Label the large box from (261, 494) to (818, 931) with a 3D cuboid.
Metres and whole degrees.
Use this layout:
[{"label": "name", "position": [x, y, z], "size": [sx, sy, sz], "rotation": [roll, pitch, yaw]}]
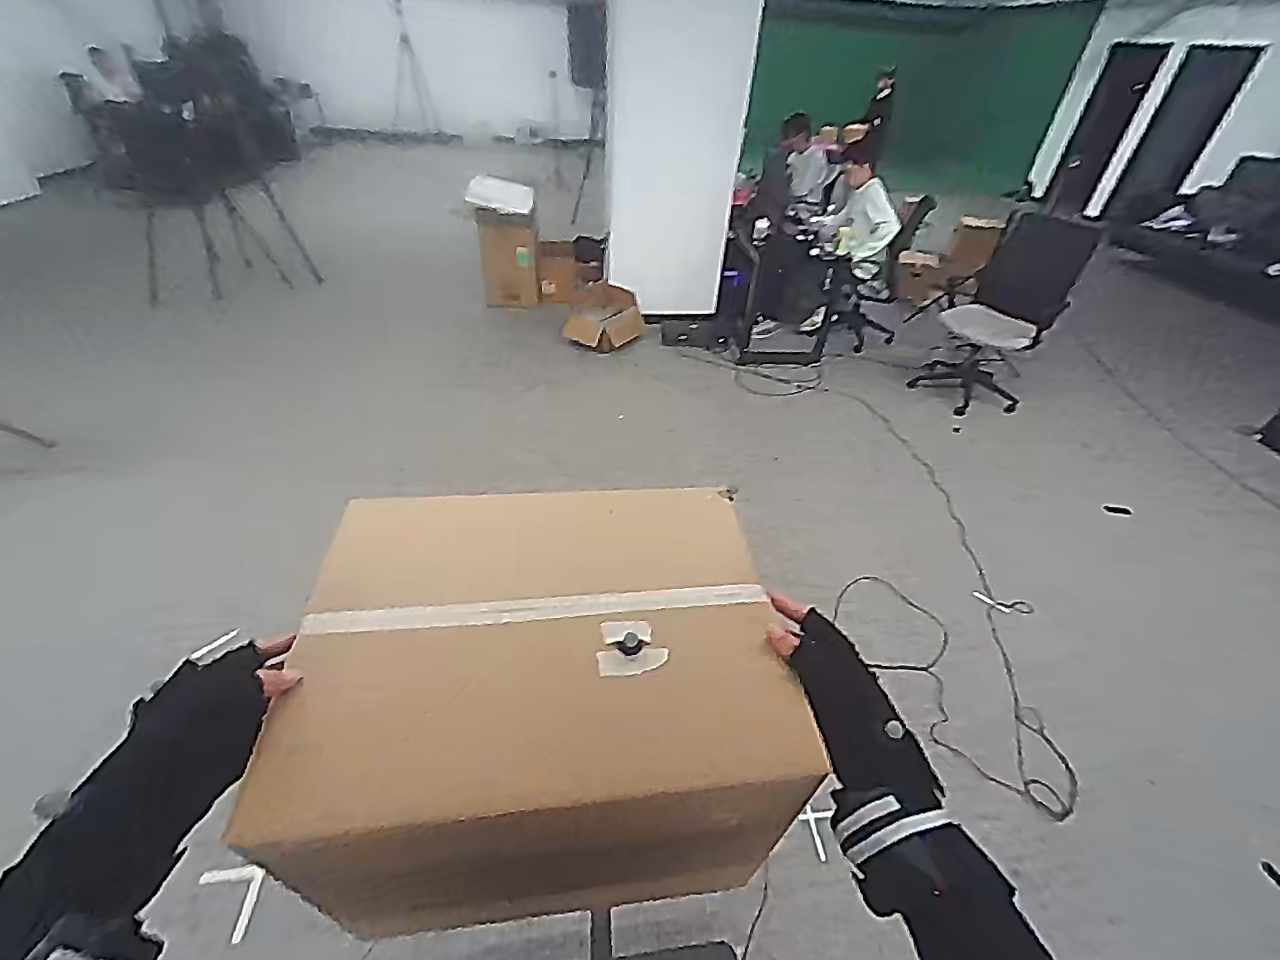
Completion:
[{"label": "large box", "position": [-0.090, 0.235, 0.589], "size": [0.408, 0.320, 0.320], "rotation": [-2, 42, -9]}]
